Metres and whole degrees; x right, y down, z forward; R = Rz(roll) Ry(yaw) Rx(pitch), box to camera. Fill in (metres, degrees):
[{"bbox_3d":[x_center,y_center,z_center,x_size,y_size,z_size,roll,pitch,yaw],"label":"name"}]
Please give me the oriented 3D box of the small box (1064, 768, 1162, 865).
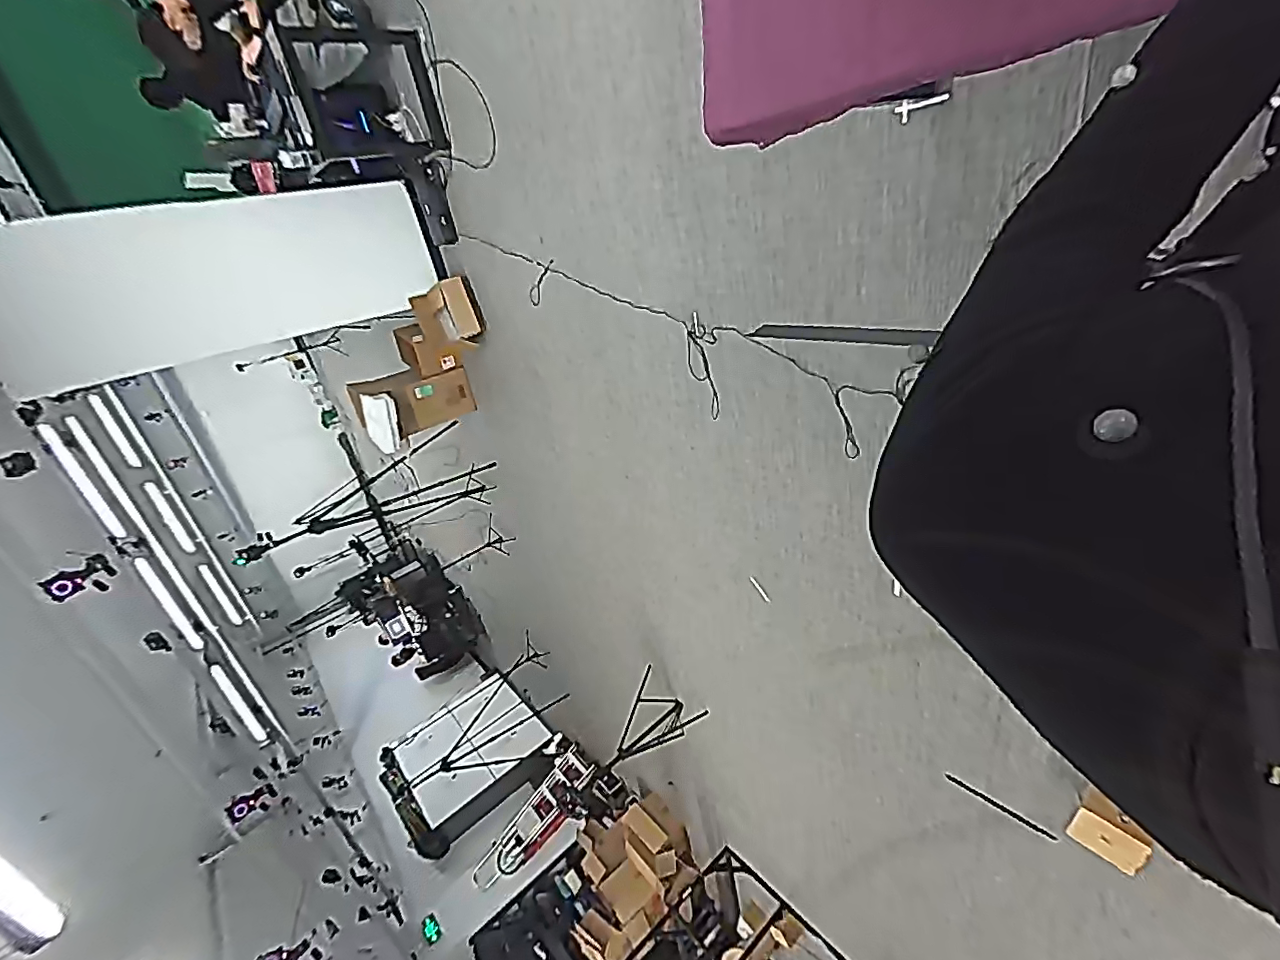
[{"bbox_3d":[1.498,1.052,1.713,0.179,0.176,0.168,27,134,41],"label":"small box"}]
